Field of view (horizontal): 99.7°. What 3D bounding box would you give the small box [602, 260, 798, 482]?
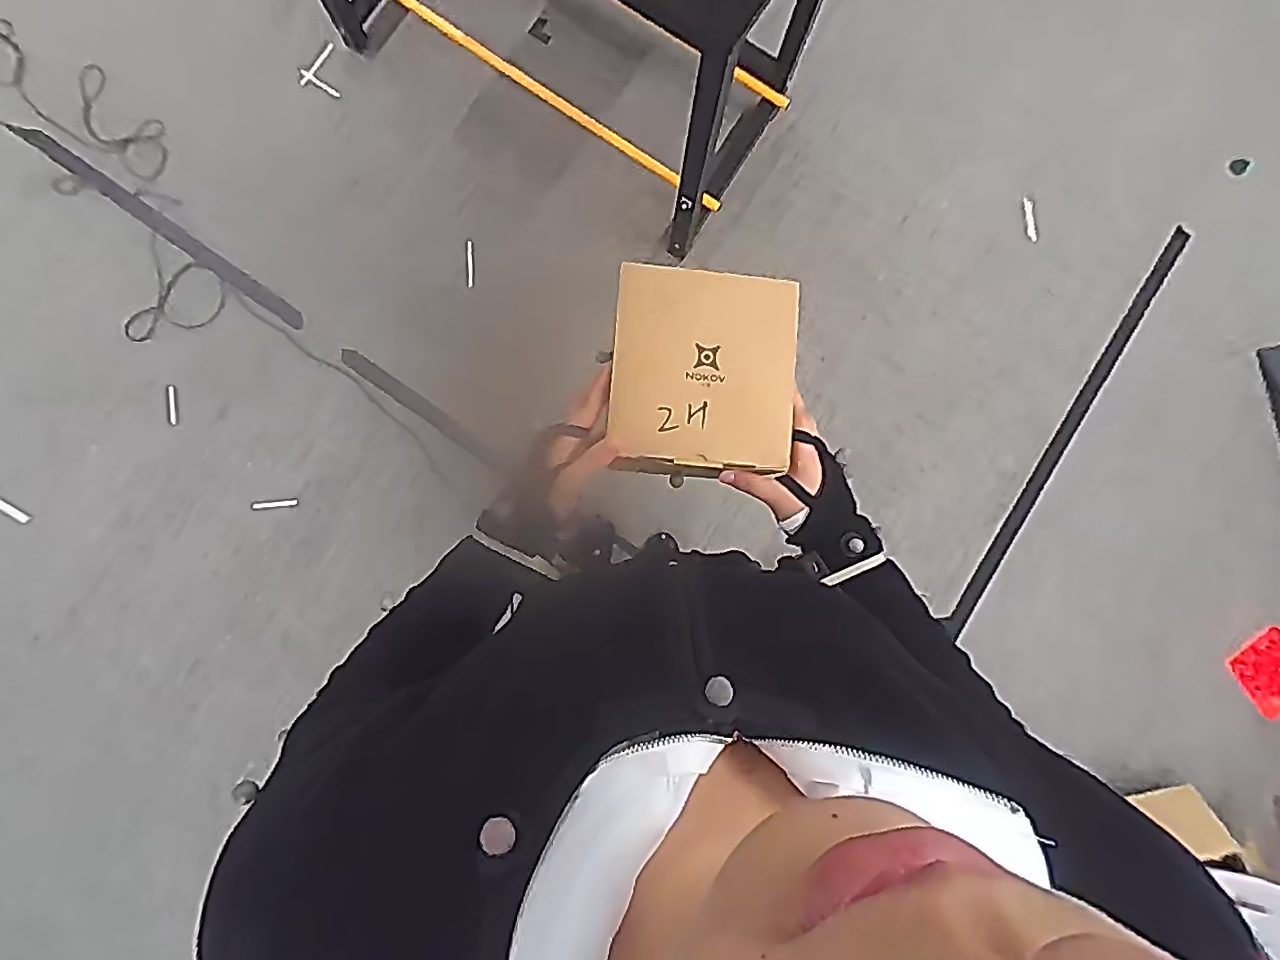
[{"bbox_3d":[0.050,-0.097,0.557,0.168,0.176,0.179,4,86,-4],"label":"small box"}]
